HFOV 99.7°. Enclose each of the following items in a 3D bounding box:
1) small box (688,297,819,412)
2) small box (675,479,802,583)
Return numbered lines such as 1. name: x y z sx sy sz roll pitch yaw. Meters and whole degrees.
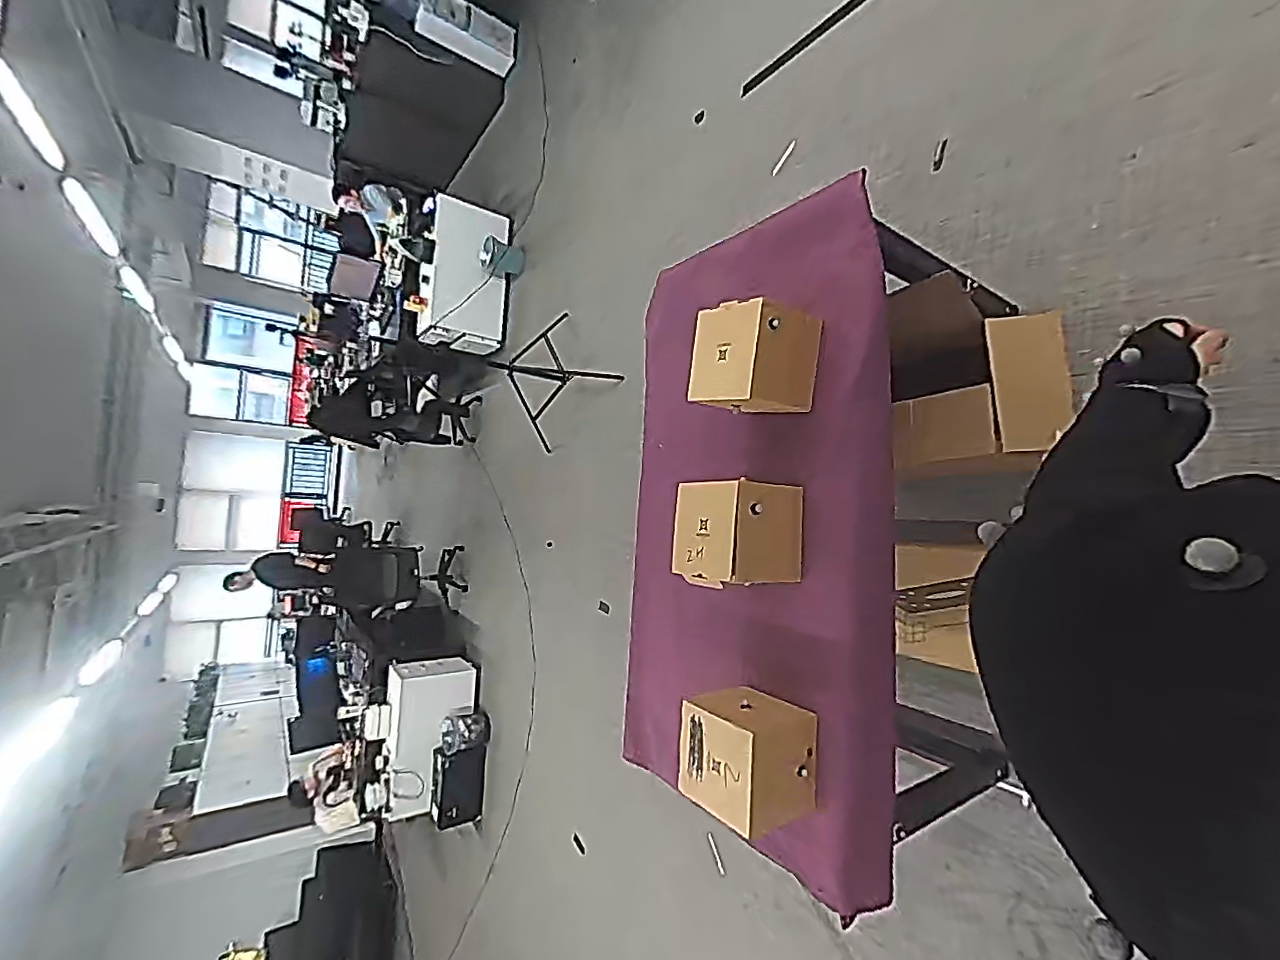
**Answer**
1. small box: 0.214 -0.223 1.014 0.168 0.176 0.179 10 93 55
2. small box: 0.185 0.094 1.012 0.168 0.176 0.179 -3 83 57
